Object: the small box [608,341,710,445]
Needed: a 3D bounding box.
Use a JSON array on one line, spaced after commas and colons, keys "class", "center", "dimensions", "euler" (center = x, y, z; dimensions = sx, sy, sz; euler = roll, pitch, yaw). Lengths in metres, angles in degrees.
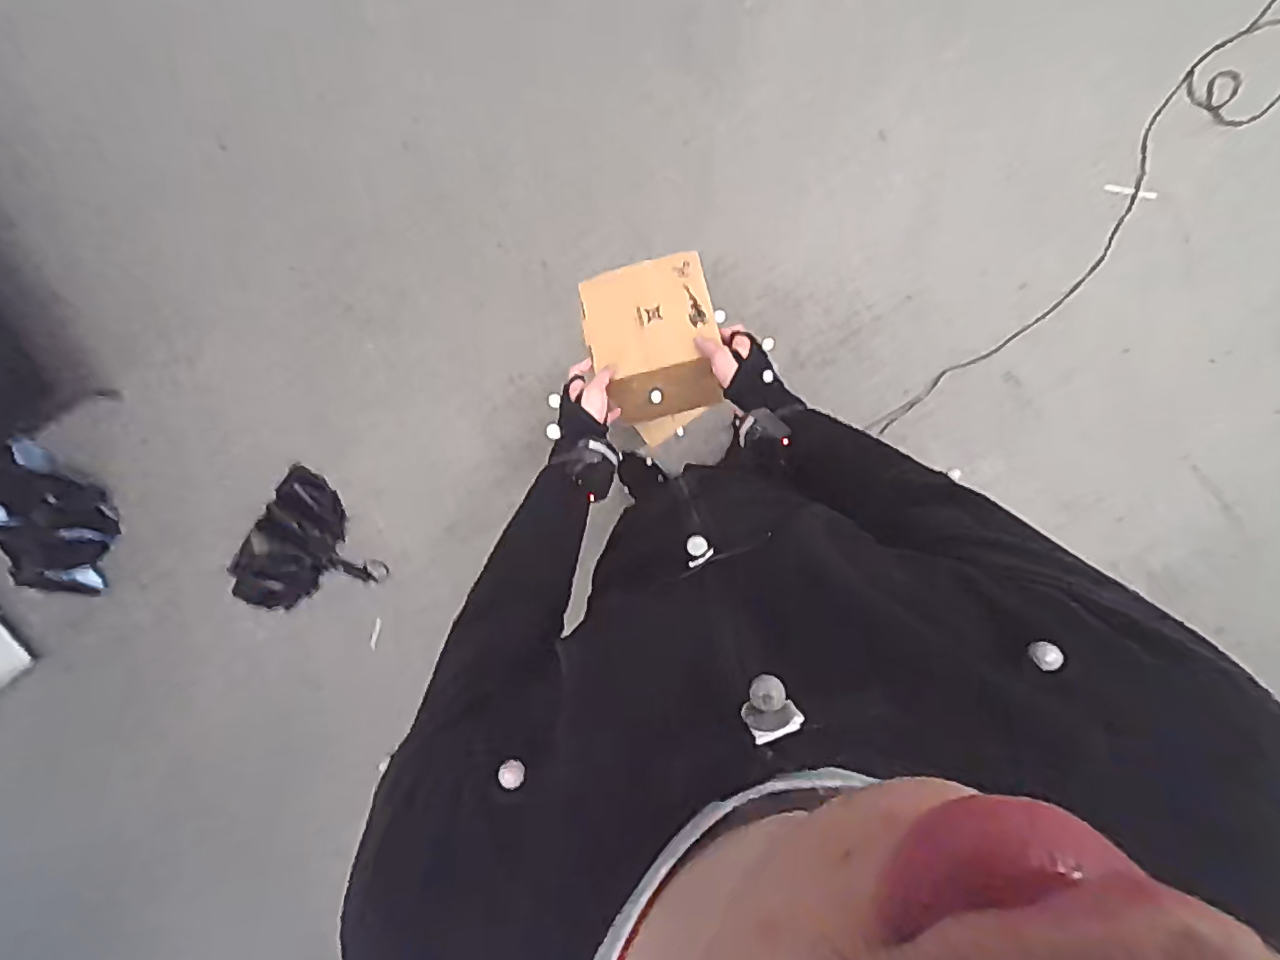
[{"class": "small box", "center": [0.045, -0.201, 1.282], "dimensions": [0.168, 0.176, 0.179], "euler": [-36, 95, 7]}]
